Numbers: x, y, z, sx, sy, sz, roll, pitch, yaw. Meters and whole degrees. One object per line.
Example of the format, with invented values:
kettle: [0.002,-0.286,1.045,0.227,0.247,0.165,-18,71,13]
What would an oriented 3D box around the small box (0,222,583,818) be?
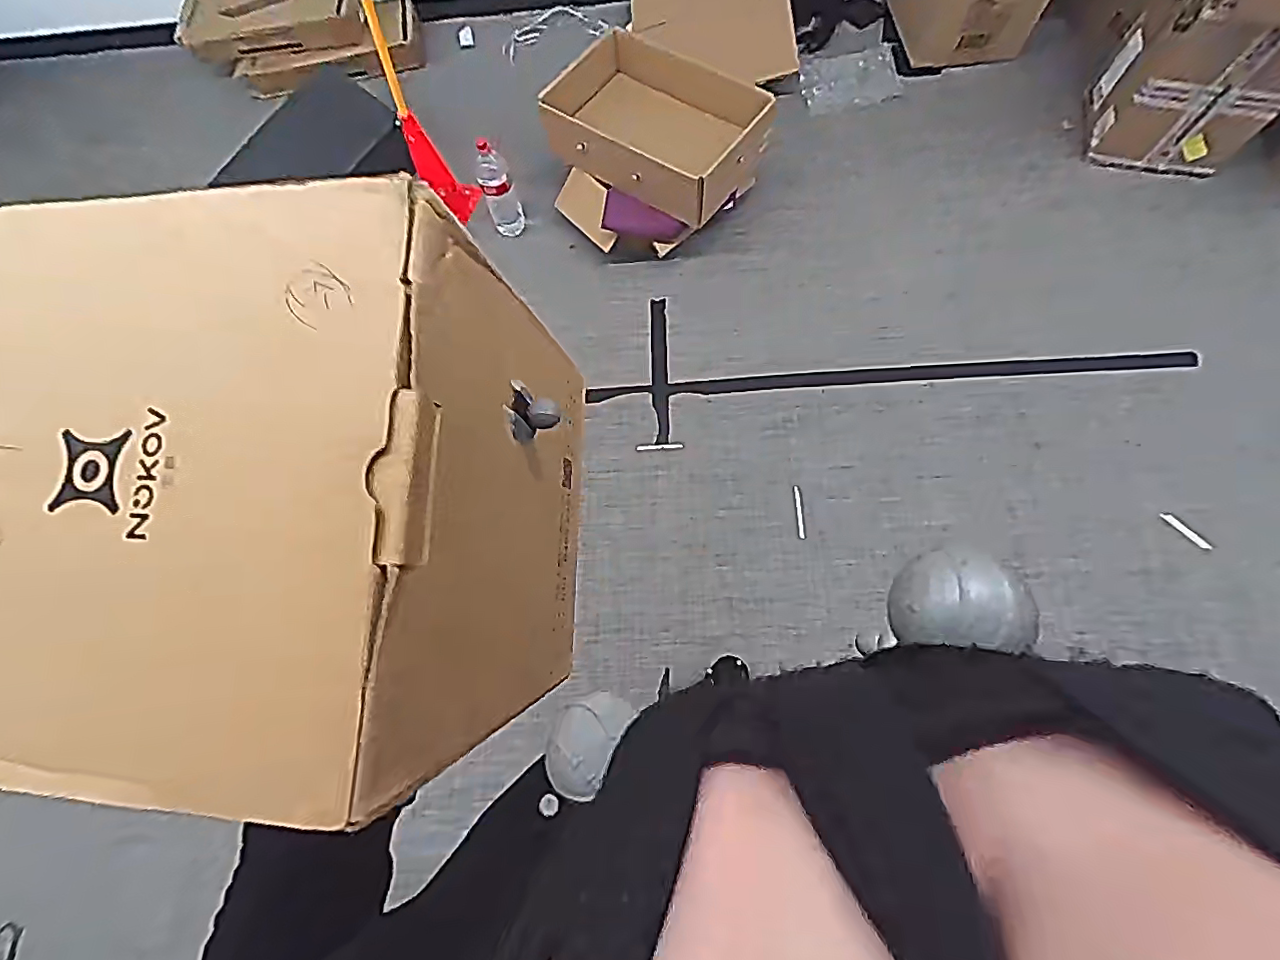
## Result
small box: [-0.131,0.015,0.238,0.179,0.176,0.168,1,81,11]
